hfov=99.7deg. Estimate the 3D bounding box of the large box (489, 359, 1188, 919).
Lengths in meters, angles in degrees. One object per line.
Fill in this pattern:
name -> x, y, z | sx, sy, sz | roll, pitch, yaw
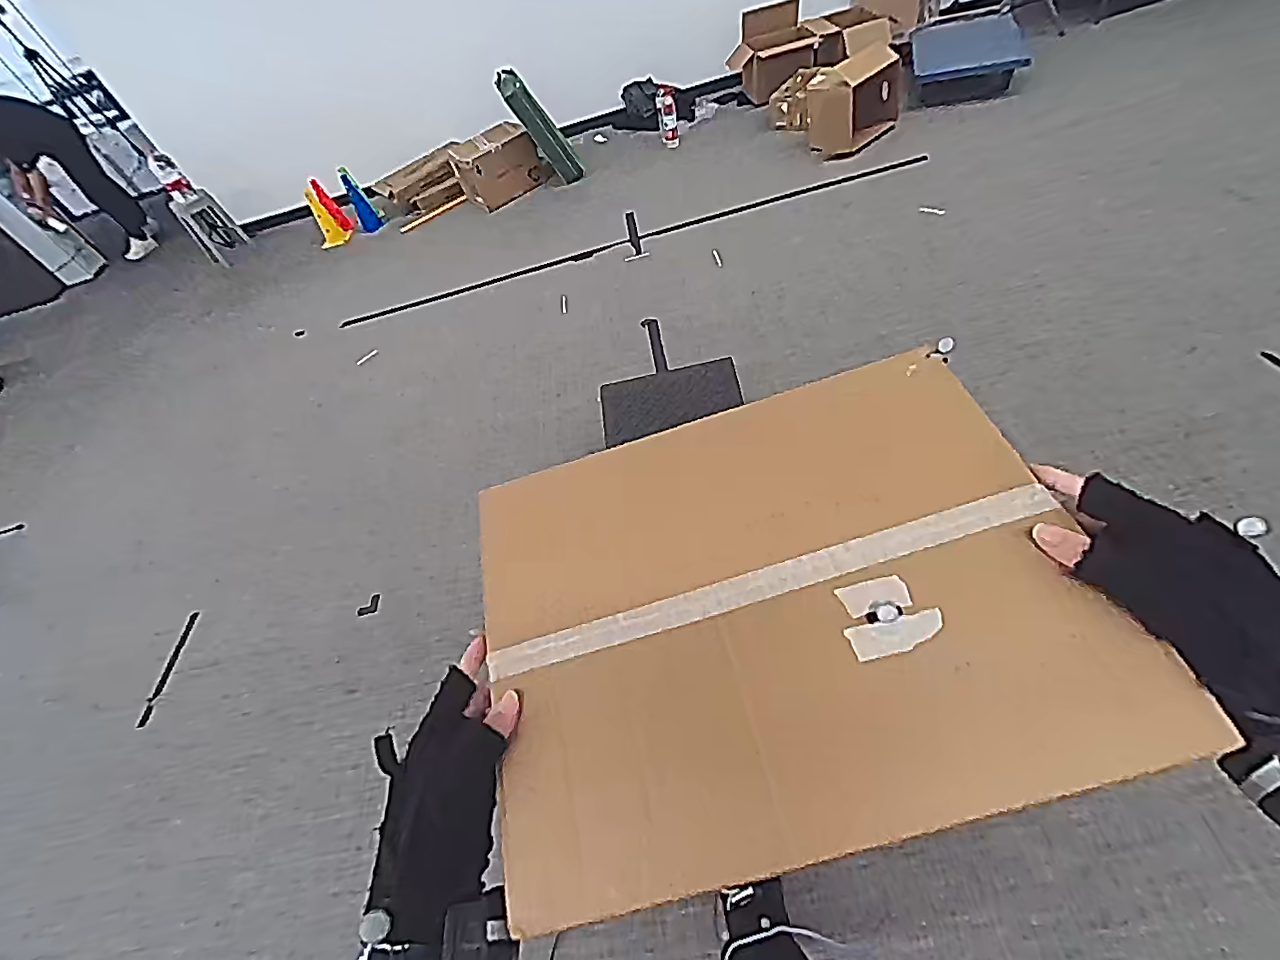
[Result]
large box -> 0.117, 0.154, 0.515 | 0.408, 0.320, 0.320 | -18, 57, 3
